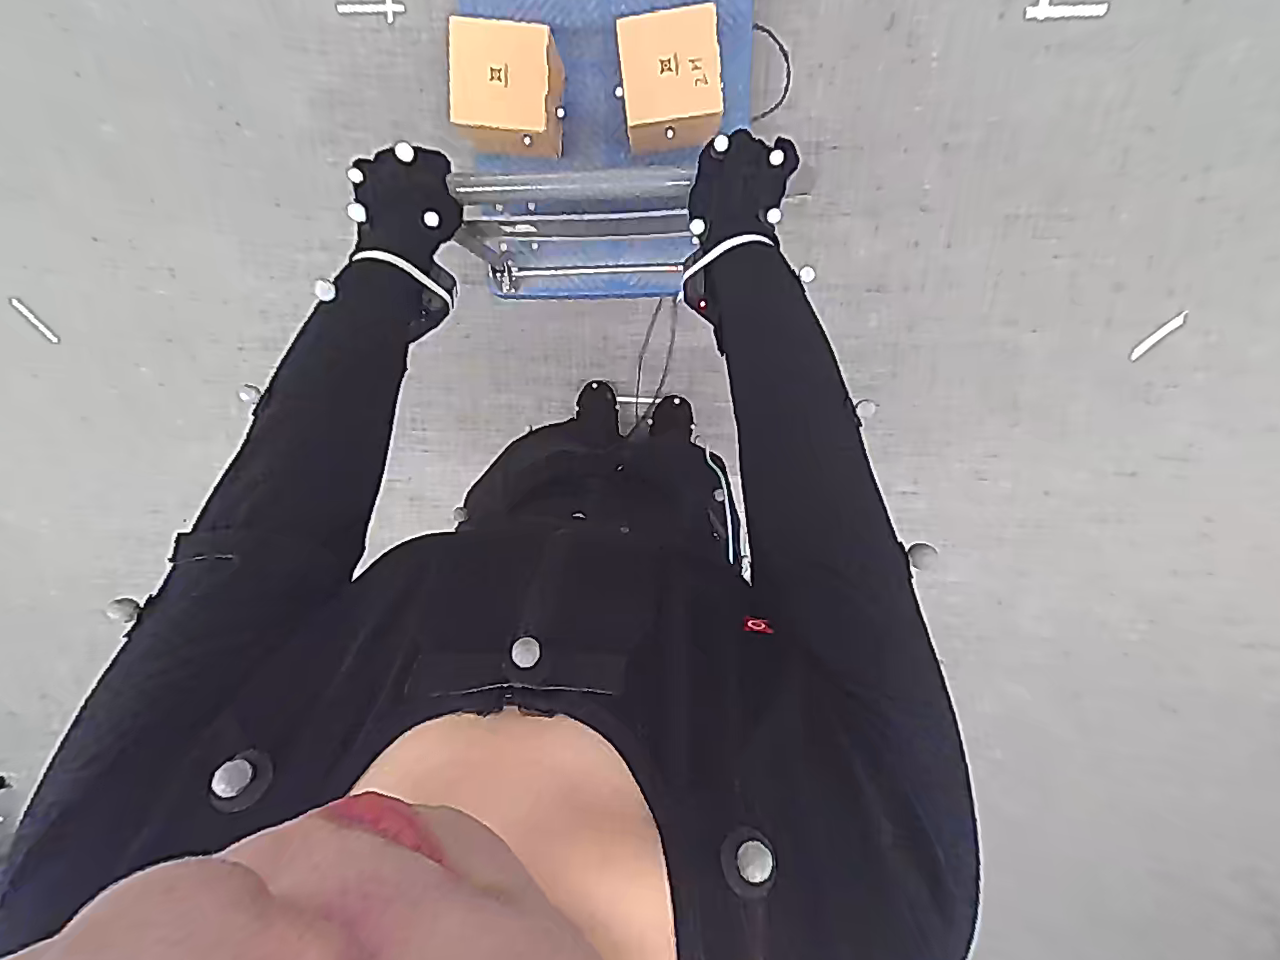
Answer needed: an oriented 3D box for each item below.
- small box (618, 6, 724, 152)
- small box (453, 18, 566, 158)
[{"bbox_3d":[0.059,-0.748,1.030,0.179,0.176,0.168,-6,105,3],"label":"small box"},{"bbox_3d":[-0.245,-0.741,1.041,0.179,0.176,0.168,4,105,-1],"label":"small box"}]
